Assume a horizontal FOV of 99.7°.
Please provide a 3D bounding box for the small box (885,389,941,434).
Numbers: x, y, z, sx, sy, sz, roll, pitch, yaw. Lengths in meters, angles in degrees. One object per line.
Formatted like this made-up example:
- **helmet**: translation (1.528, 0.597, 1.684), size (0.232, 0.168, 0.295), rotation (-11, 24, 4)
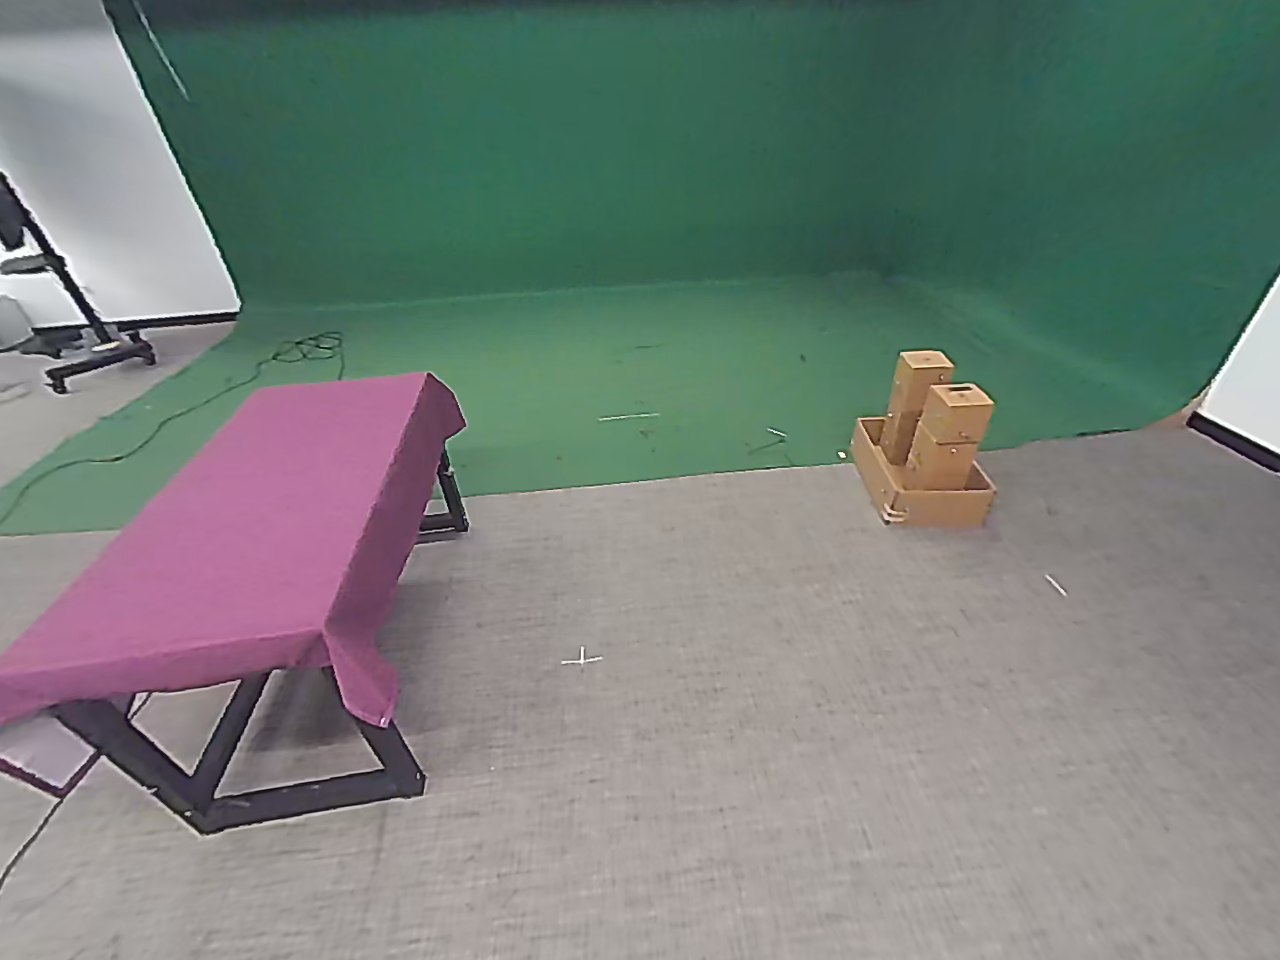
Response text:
- **small box**: translation (1.249, -0.324, 2.486), size (0.179, 0.176, 0.168), rotation (0, 37, 7)

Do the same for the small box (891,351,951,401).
- **small box**: translation (1.237, -0.458, 2.392), size (0.179, 0.176, 0.168), rotation (-1, 37, 6)
